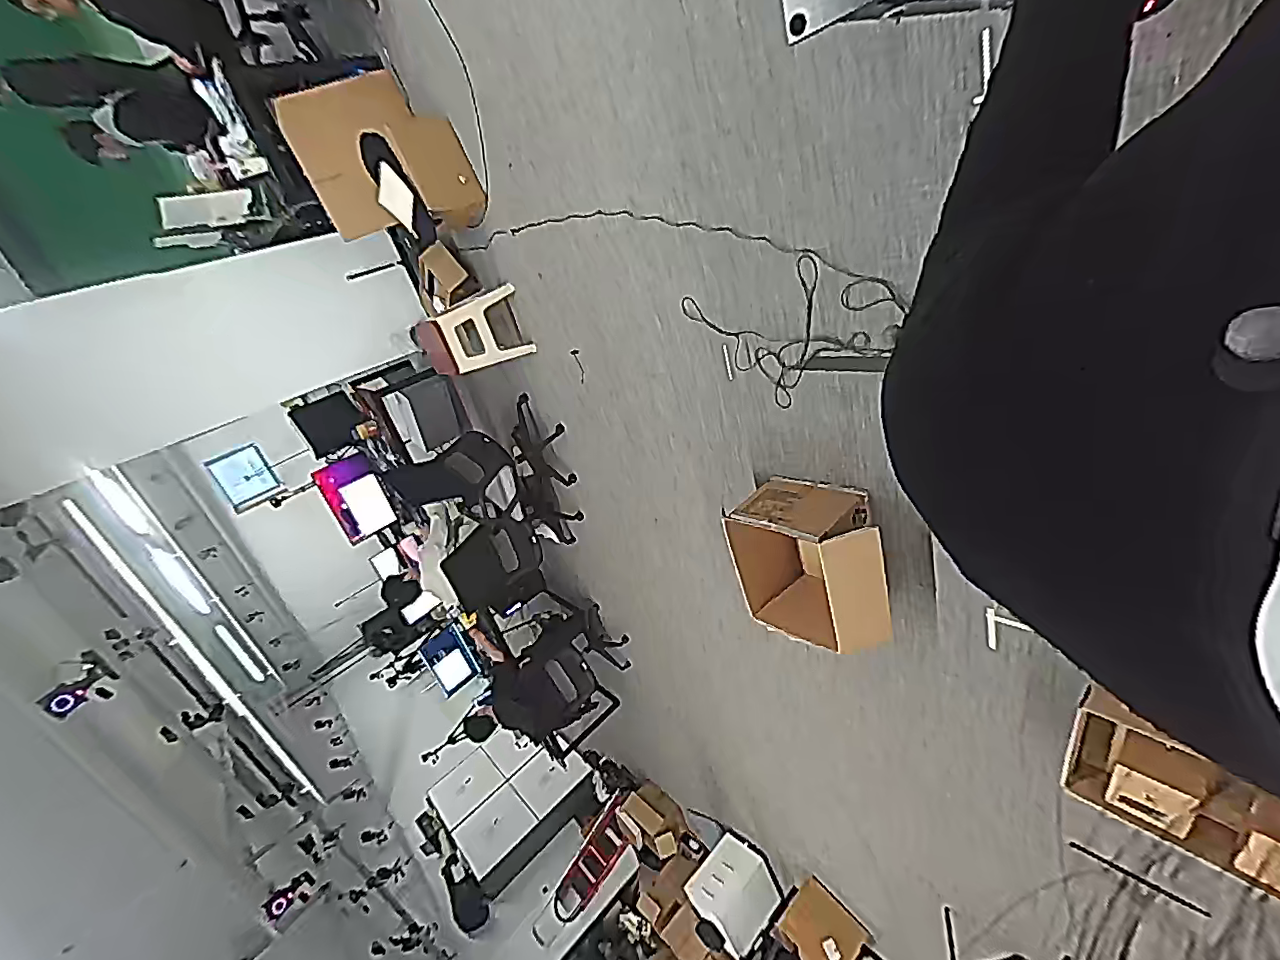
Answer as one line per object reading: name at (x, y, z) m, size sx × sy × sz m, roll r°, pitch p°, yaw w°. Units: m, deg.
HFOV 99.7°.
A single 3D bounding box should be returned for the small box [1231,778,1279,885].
small box at (1.593, 0.873, 1.308) m, size 0.179 × 0.176 × 0.168 m, roll 20°, pitch 132°, yaw 47°
